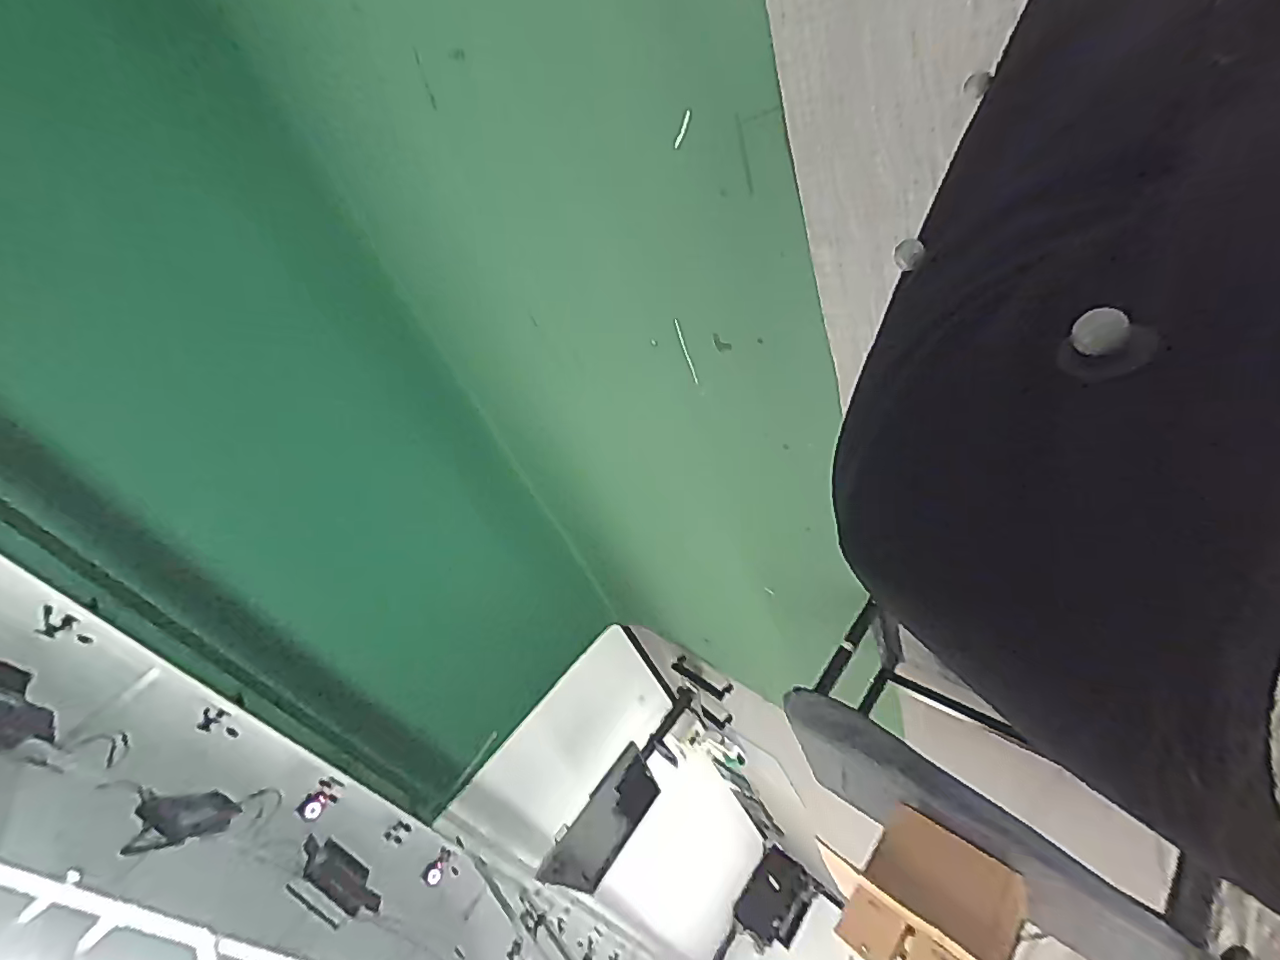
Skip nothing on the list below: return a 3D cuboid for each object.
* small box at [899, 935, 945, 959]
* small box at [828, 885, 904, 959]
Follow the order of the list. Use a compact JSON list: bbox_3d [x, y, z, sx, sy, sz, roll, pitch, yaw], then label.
[{"bbox_3d":[0.863,1.523,1.613,0.168,0.176,0.179,15,139,45],"label":"small box"},{"bbox_3d":[0.741,1.475,1.758,0.168,0.176,0.179,20,145,46],"label":"small box"}]
